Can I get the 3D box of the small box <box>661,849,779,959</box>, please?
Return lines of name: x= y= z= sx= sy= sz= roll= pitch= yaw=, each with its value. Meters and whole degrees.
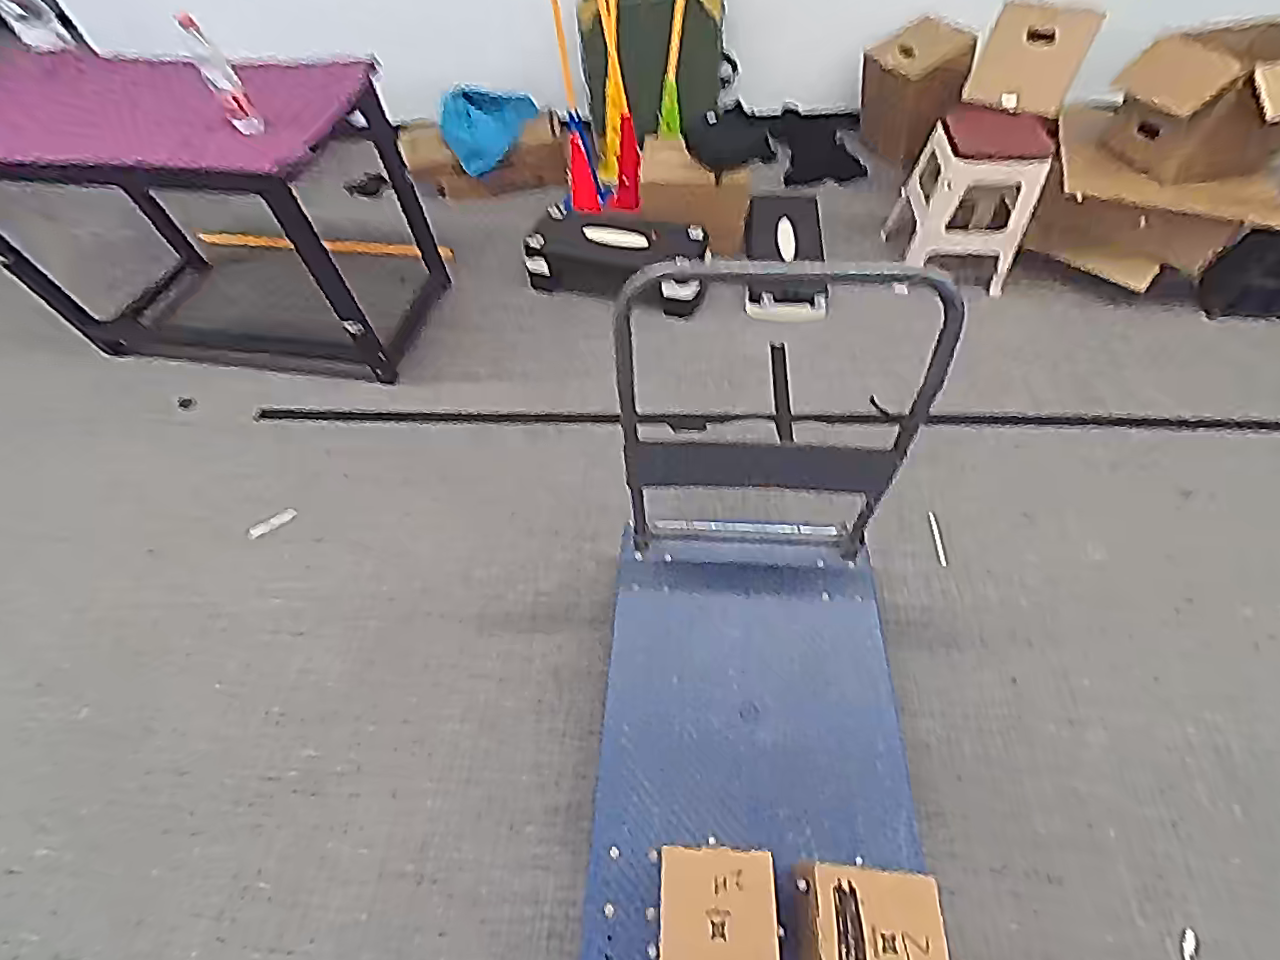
small box: x=0.118 y=0.679 z=0.831 sx=0.168 sy=0.176 sz=0.179 roll=1 pitch=55 yaw=4
